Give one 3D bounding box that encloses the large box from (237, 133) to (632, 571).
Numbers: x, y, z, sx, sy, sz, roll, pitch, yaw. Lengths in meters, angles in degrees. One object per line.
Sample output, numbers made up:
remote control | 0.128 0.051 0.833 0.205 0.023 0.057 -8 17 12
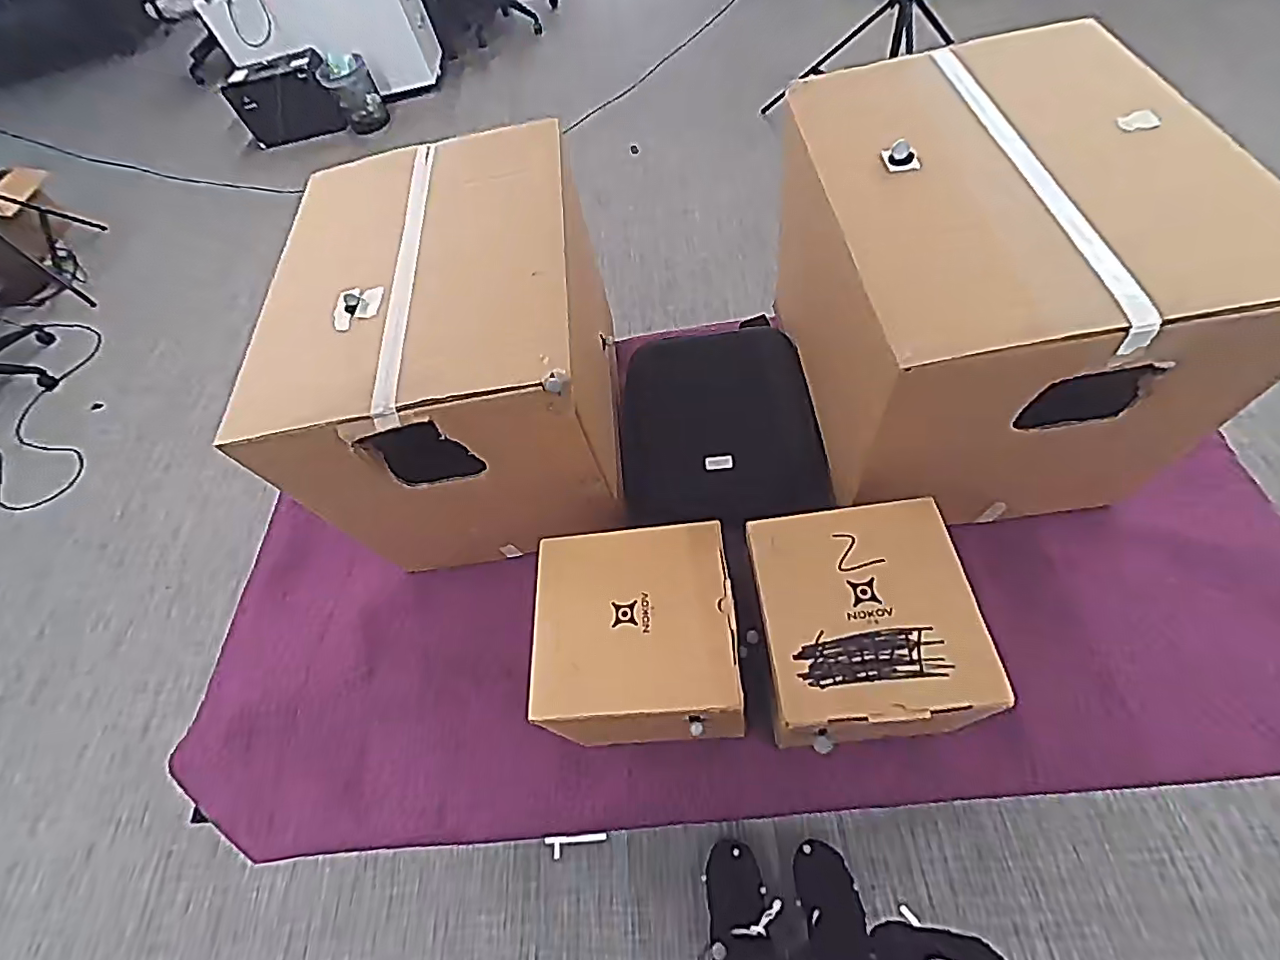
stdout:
large box | -0.202 -0.143 0.678 0.320 0.320 0.408 -10 61 5
